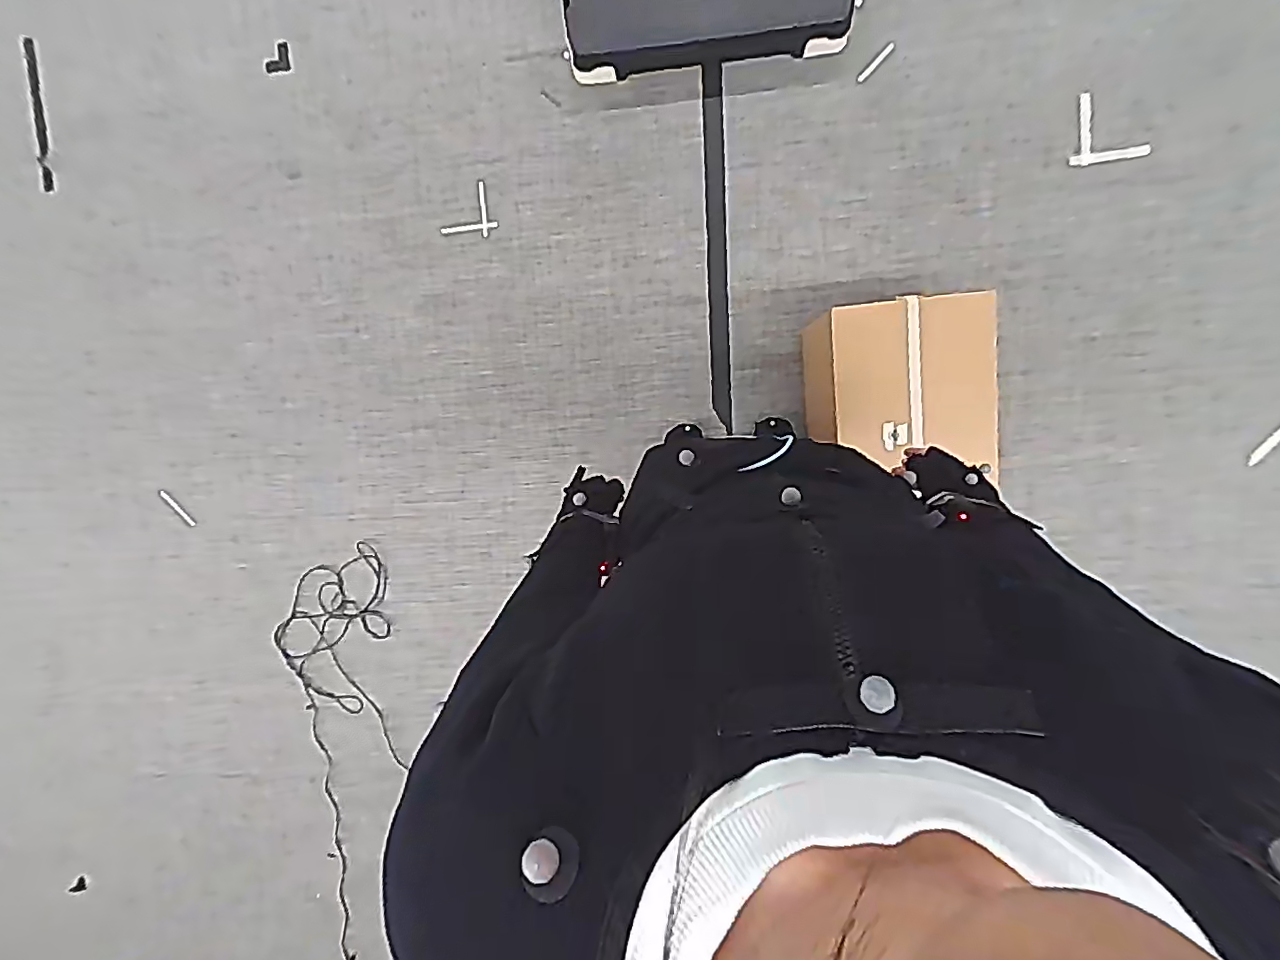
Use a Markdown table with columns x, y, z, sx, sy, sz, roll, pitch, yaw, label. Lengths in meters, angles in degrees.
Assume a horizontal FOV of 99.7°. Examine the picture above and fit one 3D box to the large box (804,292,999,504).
| x | y | z | sx | sy | sz | roll | pitch | yaw | label |
| --- | --- | --- | --- | --- | --- | --- | --- | --- | --- |
| 0.572 | -0.178 | 1.236 | 0.320 | 0.320 | 0.408 | -4 | 97 | 7 | large box |
